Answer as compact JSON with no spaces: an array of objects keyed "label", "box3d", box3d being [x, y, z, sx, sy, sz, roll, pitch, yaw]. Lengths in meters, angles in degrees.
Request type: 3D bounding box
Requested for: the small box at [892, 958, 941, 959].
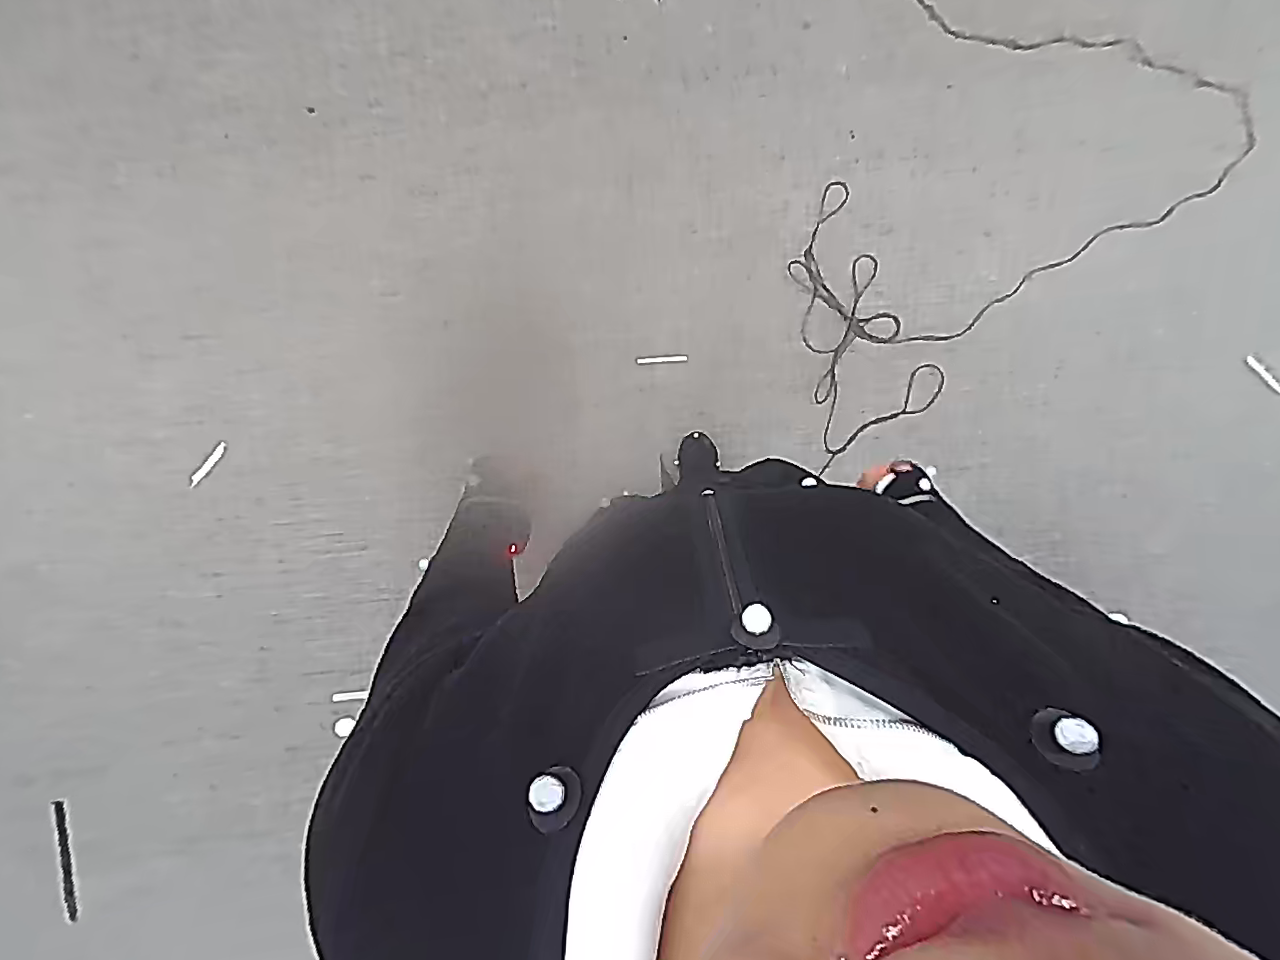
[{"label":"small box","box3d":[0.768,1.425,1.440,0.179,0.176,0.168,-5,91,1]}]
